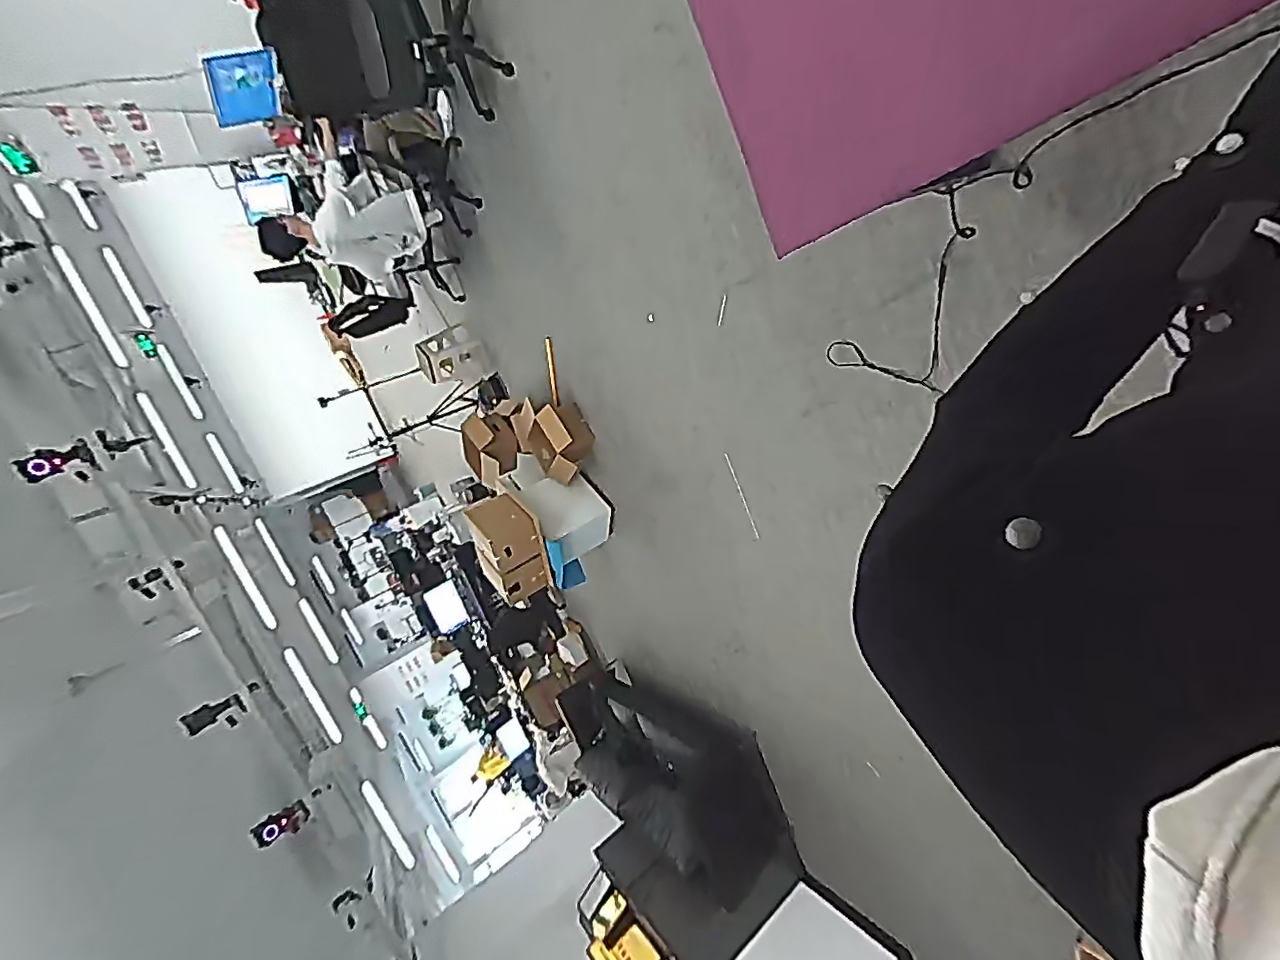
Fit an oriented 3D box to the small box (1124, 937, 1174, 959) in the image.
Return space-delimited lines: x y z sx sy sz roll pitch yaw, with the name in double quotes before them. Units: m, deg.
"small box" 1.356 1.357 1.401 0.168 0.176 0.179 18 129 55
